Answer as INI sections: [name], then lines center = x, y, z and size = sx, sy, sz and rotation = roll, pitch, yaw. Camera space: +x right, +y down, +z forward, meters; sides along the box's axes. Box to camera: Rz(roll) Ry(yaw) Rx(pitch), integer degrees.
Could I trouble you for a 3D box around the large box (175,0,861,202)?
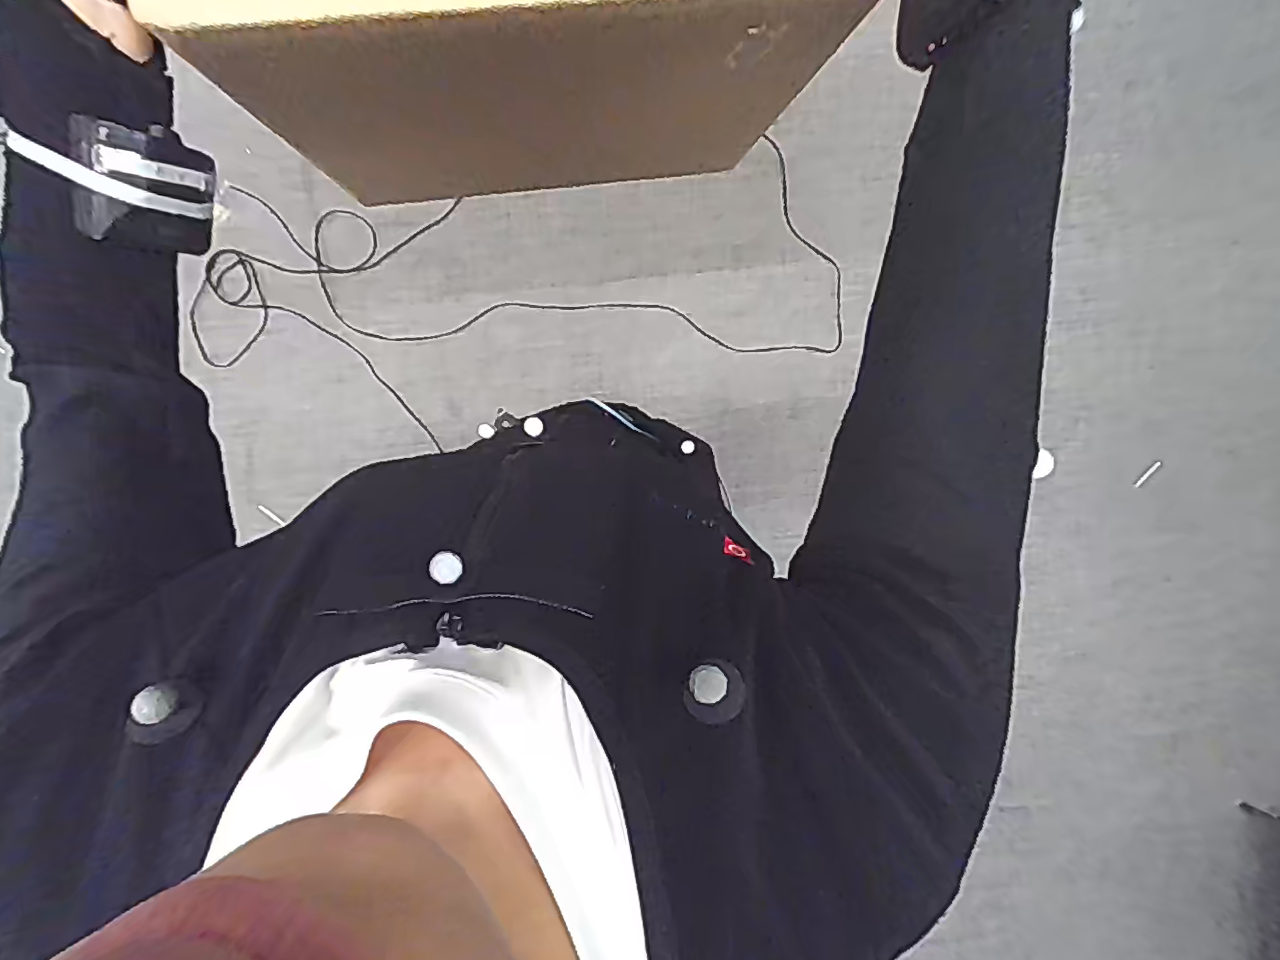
[large box]
center = -0.088, -0.440, 0.410
size = 0.408, 0.320, 0.320
rotation = -9, 103, -7
